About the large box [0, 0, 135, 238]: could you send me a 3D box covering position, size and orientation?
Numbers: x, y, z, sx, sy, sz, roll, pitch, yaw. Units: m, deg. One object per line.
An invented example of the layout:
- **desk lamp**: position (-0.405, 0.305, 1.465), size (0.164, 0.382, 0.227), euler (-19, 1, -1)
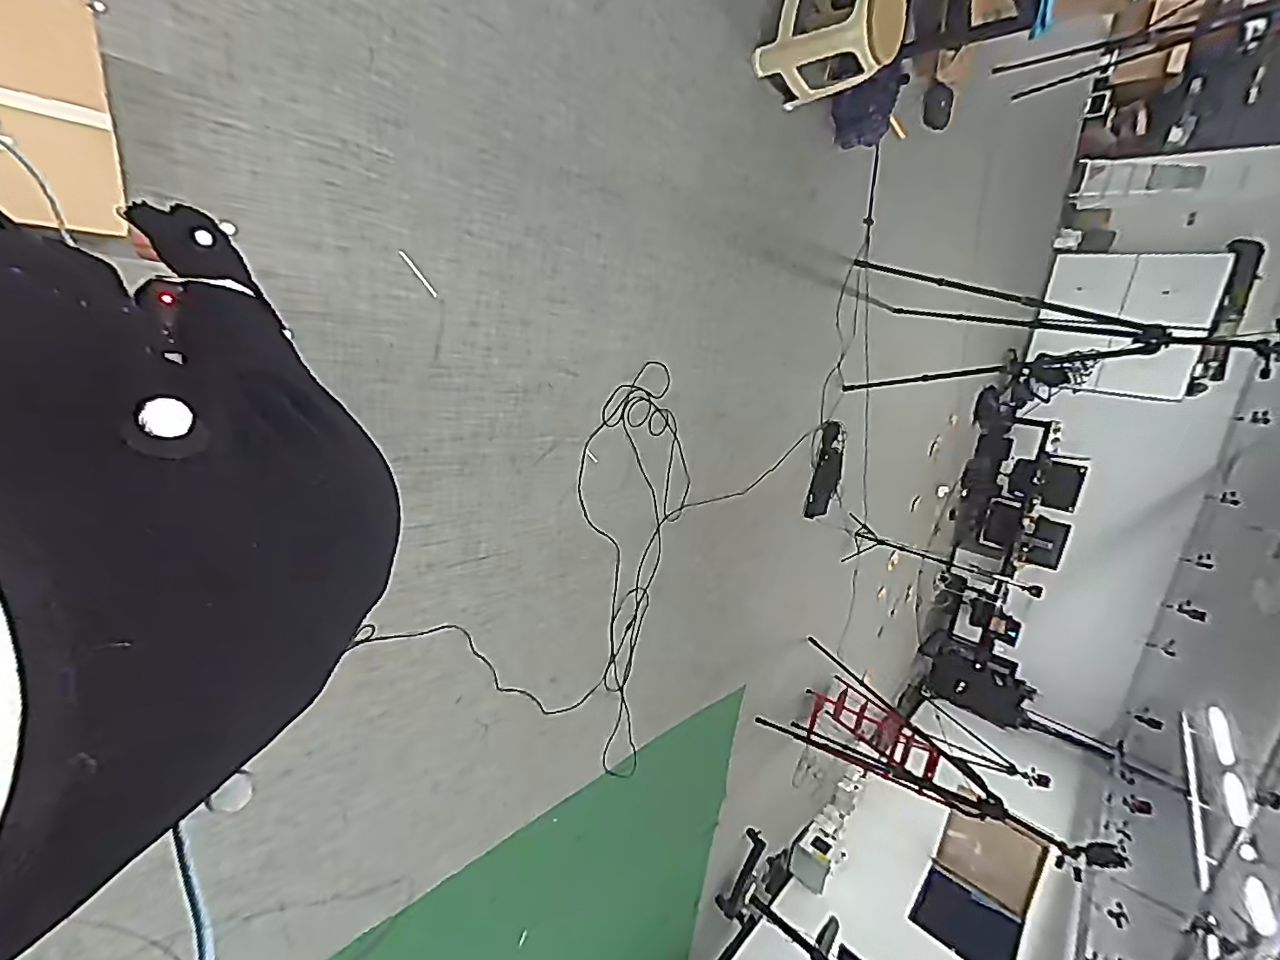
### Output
- **large box**: position (-1.020, -0.540, 0.756), size (0.408, 0.320, 0.320), euler (-12, 114, -45)
